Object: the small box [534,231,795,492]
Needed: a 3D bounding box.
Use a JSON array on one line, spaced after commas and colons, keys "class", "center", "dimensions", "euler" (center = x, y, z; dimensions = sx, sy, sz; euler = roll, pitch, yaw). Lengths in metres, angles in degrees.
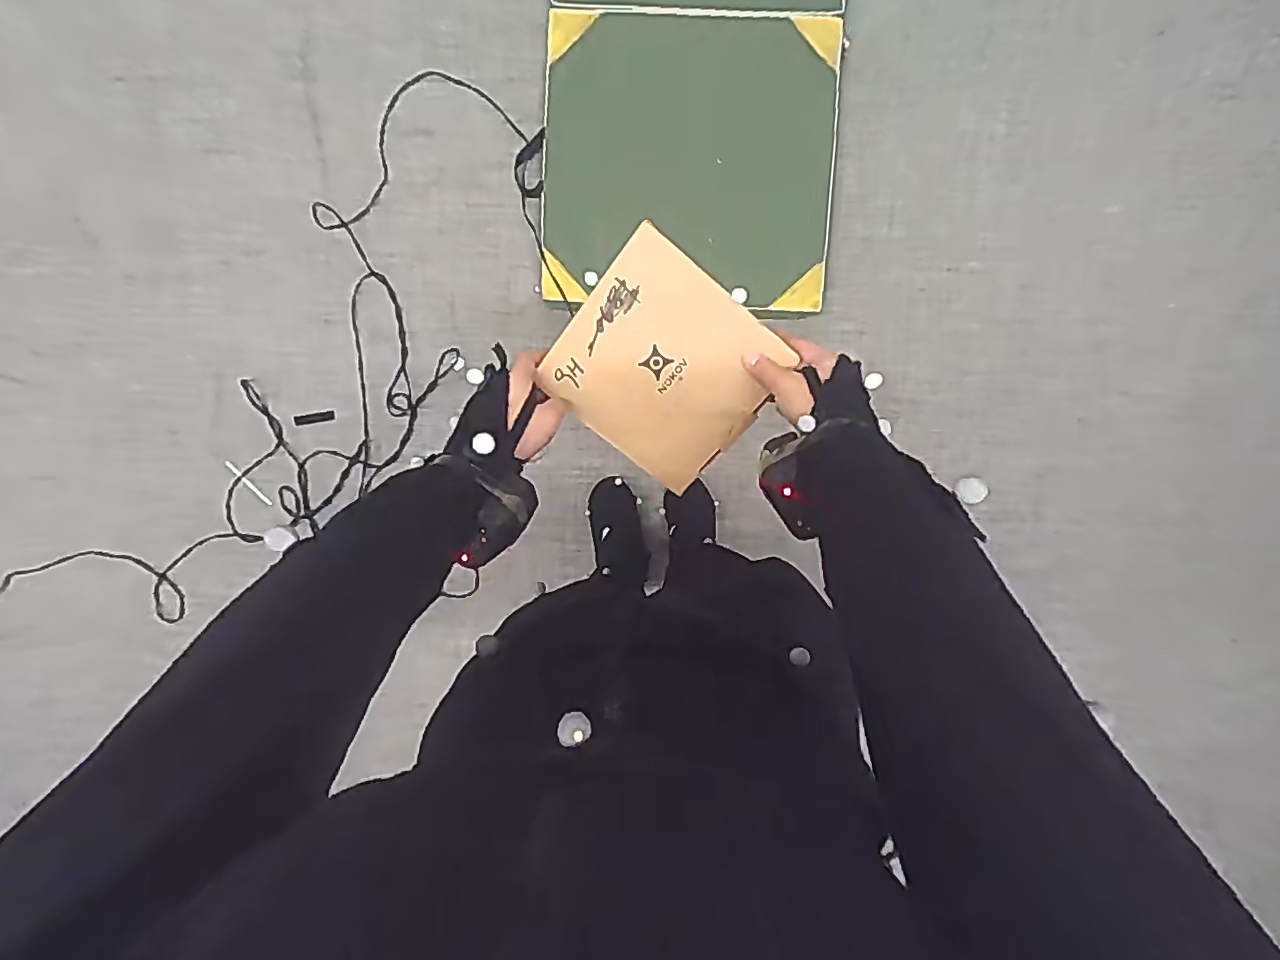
[{"class": "small box", "center": [0.025, -0.124, 0.552], "dimensions": [0.179, 0.176, 0.168], "euler": [38, 107, -10]}]
